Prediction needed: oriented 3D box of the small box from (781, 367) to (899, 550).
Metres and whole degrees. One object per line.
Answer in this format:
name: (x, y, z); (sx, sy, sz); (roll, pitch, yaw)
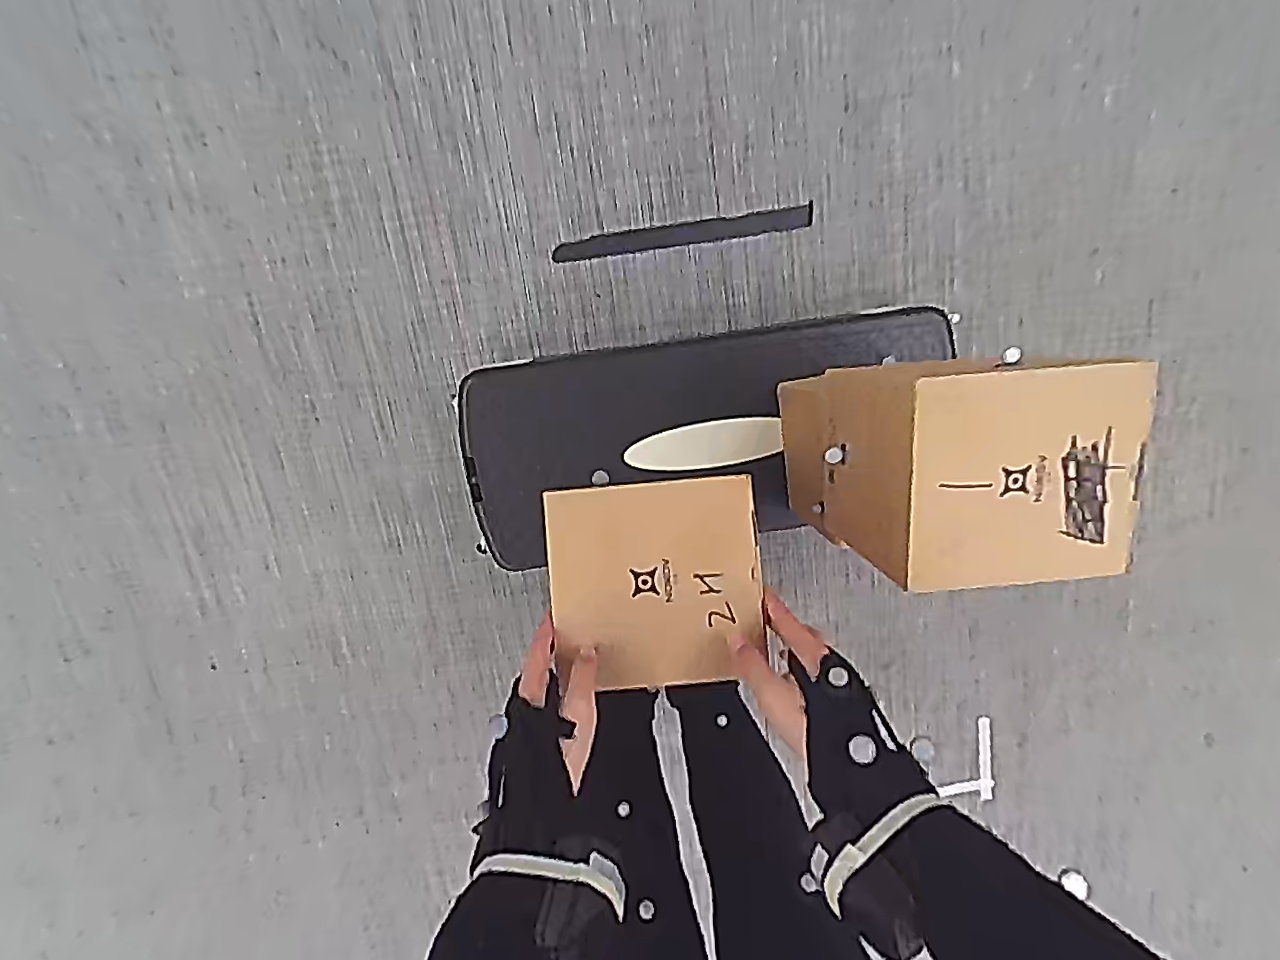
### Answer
small box: (0.277, -0.037, 0.641); (0.168, 0.176, 0.179); (-10, 103, -2)

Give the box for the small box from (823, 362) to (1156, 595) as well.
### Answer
small box: (0.281, -0.015, 0.476); (0.179, 0.176, 0.168); (-5, 103, -3)

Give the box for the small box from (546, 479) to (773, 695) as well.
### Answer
small box: (0.016, 0.093, 0.515); (0.179, 0.176, 0.168); (-5, 85, 1)
